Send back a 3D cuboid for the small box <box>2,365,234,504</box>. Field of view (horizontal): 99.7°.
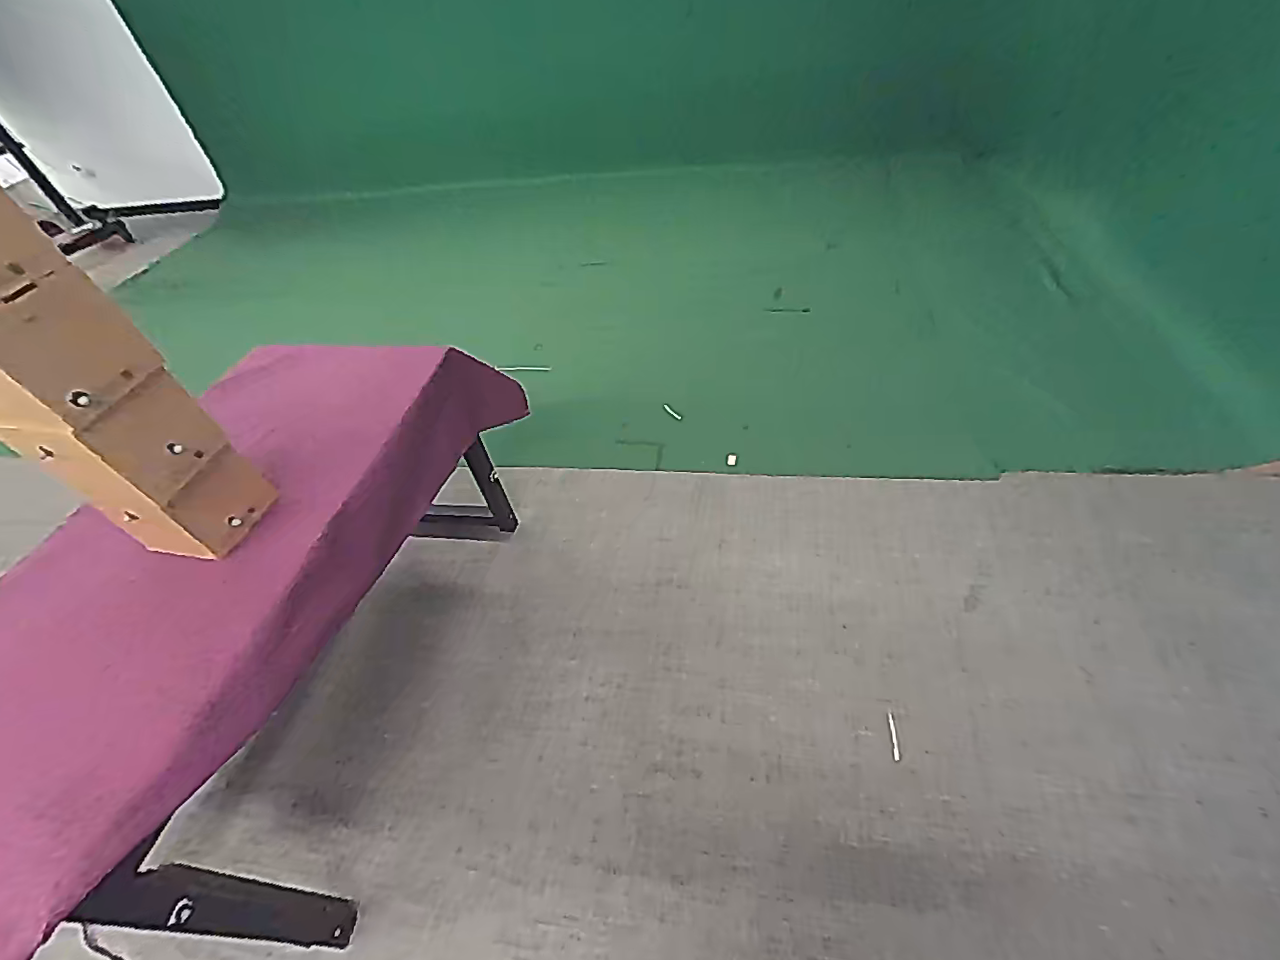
[{"bbox_3d":[-0.844,-0.077,0.896,0.179,0.176,0.168,5,49,13],"label":"small box"}]

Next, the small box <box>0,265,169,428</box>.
[{"bbox_3d":[-0.853,-0.190,0.777,0.179,0.176,0.168,4,49,14],"label":"small box"}]

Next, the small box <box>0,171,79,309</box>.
[{"bbox_3d":[-0.877,-0.300,0.658,0.179,0.176,0.168,5,49,15],"label":"small box"}]

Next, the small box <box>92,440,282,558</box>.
[{"bbox_3d":[-0.840,0.029,1.021,0.179,0.176,0.168,6,49,14],"label":"small box"}]
